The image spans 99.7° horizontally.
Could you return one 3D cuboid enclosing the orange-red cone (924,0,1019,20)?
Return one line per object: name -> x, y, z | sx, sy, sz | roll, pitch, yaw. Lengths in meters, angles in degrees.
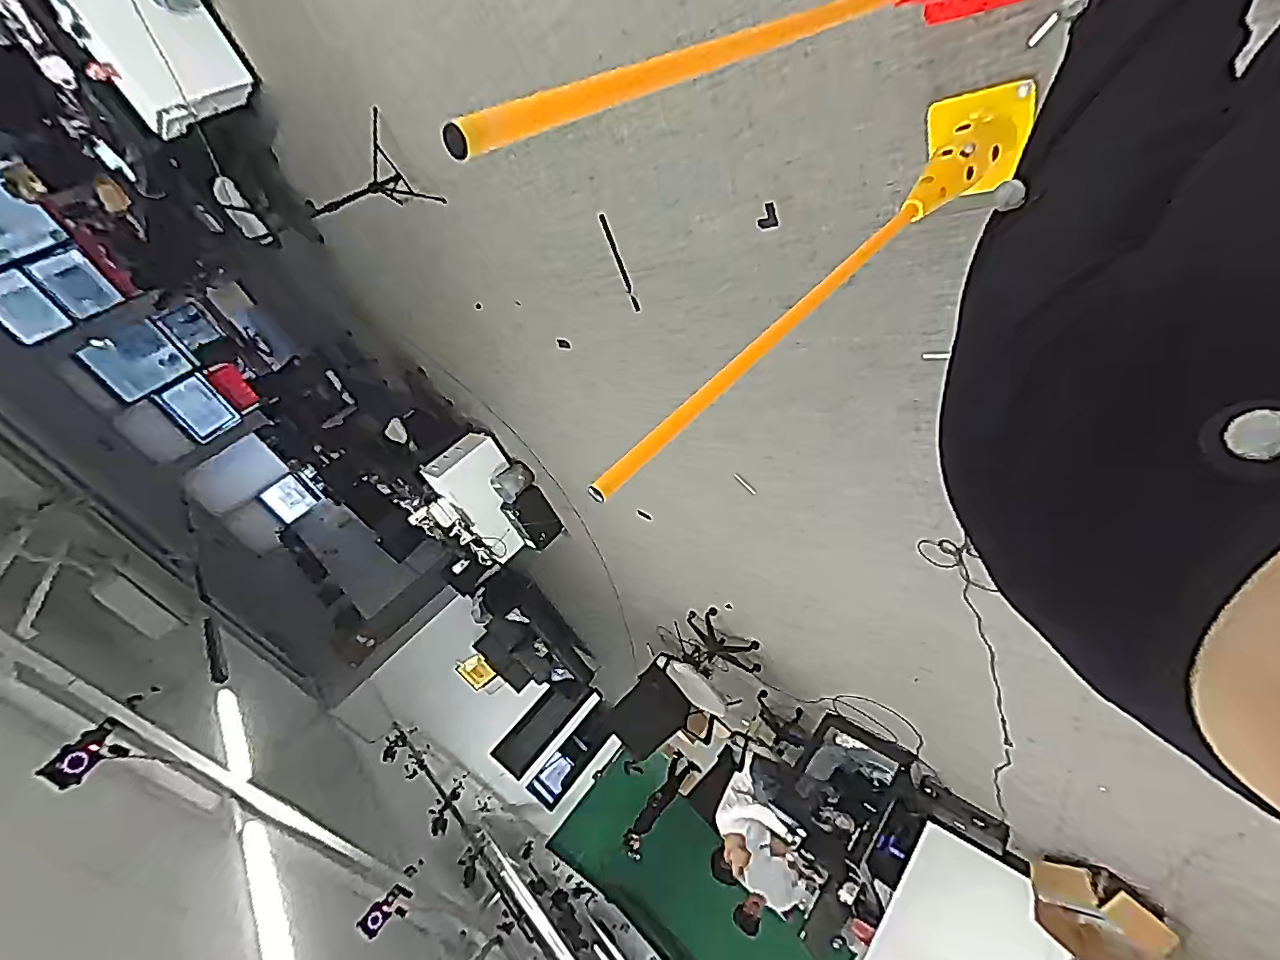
orange-red cone -> 0.510, -0.865, 0.897 | 0.198, 0.360, 0.199 | 20, 143, 40
